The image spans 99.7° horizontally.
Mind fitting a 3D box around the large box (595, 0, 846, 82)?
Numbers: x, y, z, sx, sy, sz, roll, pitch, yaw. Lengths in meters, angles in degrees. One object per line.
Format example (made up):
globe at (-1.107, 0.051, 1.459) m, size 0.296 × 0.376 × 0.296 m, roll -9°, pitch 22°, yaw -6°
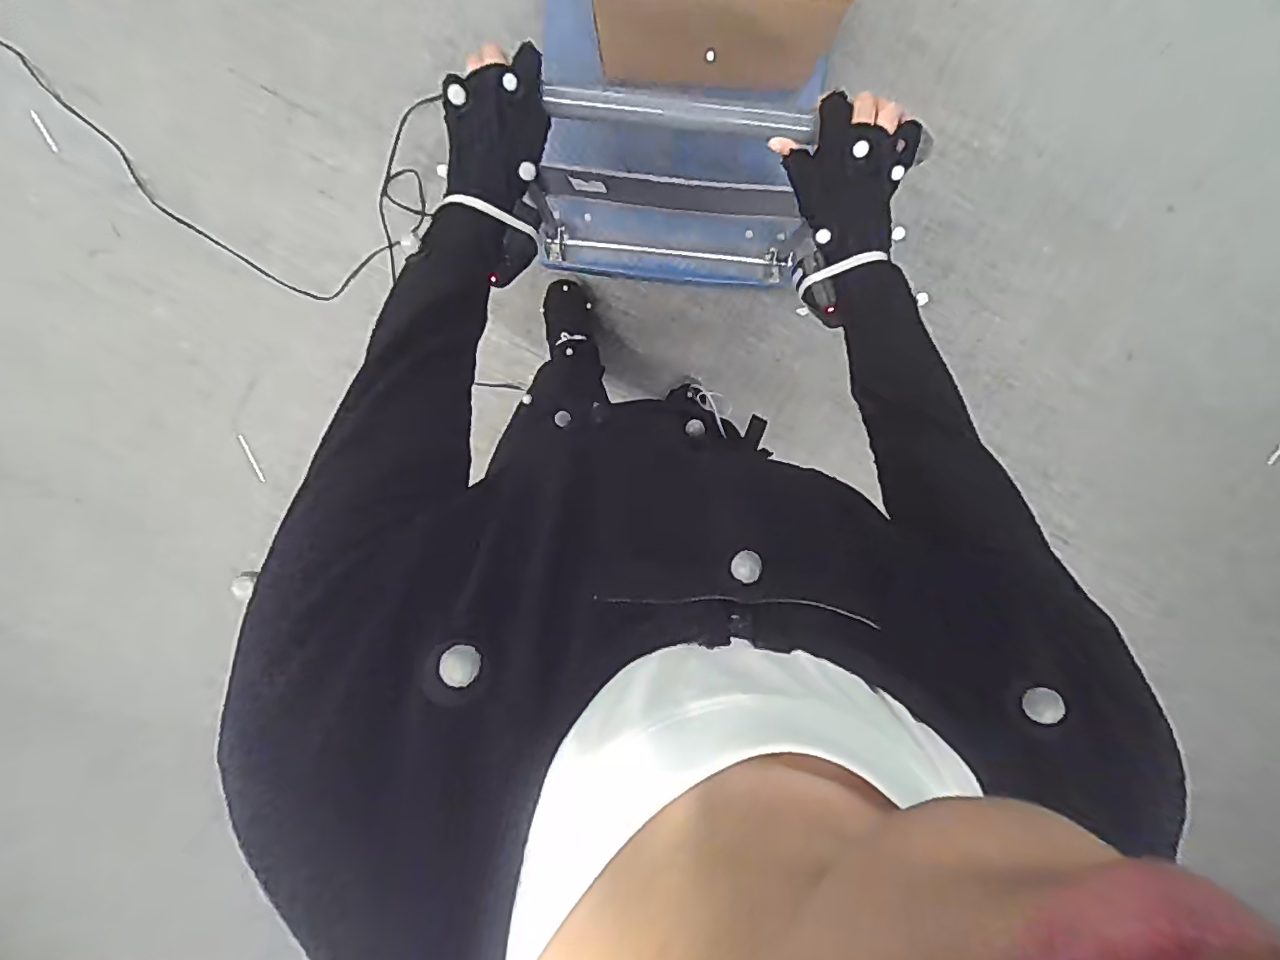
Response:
large box at (0.136, -0.932, 0.927) m, size 0.408 × 0.320 × 0.320 m, roll 4°, pitch 103°, yaw 0°
